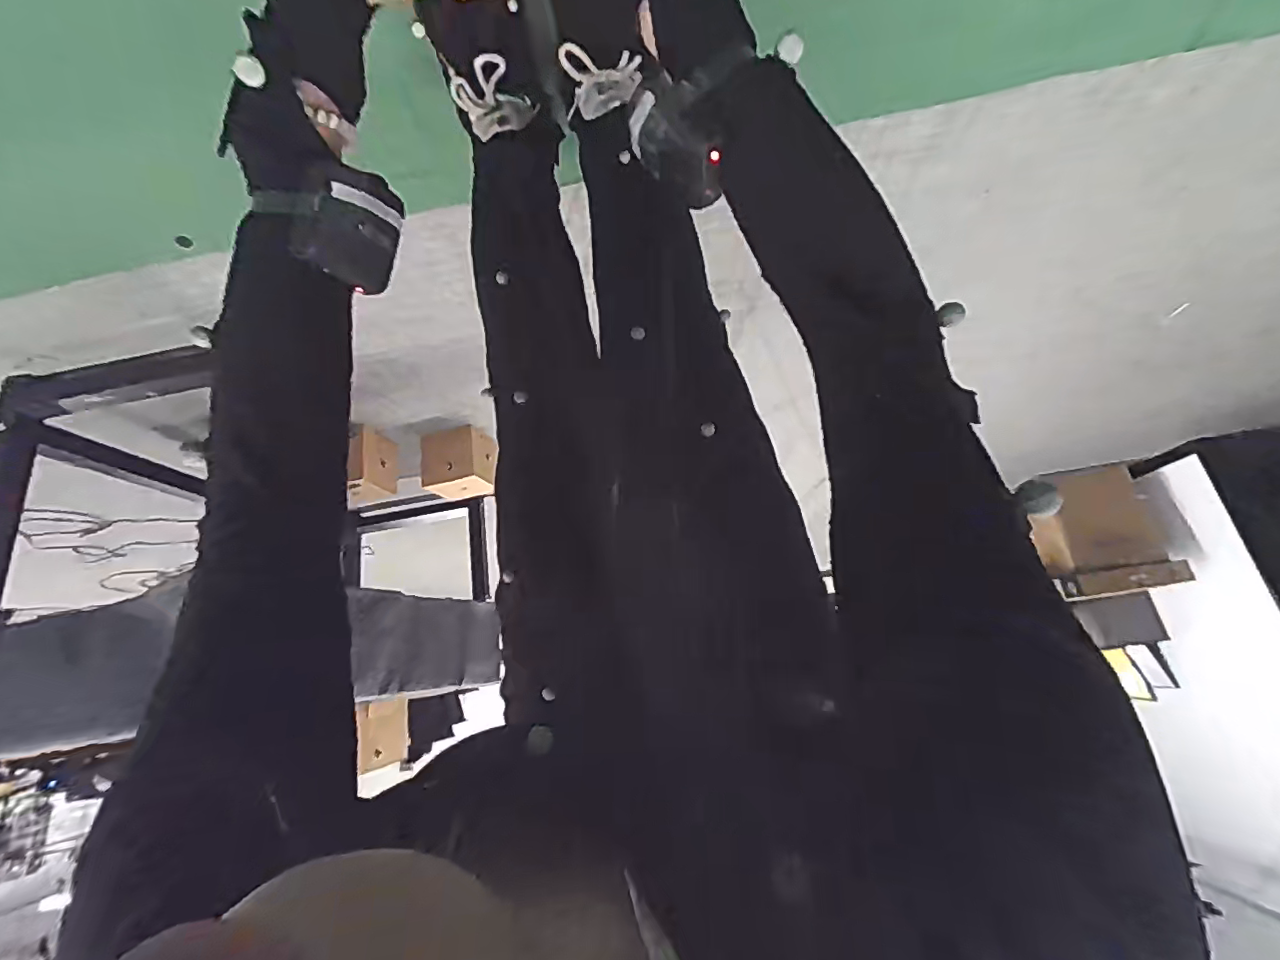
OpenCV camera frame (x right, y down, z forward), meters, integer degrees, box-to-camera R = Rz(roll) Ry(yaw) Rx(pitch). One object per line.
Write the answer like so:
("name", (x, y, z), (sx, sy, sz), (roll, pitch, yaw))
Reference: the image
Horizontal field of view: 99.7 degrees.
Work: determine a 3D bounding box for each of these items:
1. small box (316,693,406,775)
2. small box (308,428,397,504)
("small box", (-0.736, 0.662, 1.422), (0.168, 0.176, 0.179), (-11, 161, 8))
("small box", (-0.832, -0.044, 1.573), (0.168, 0.176, 0.179), (-10, 163, 5))
